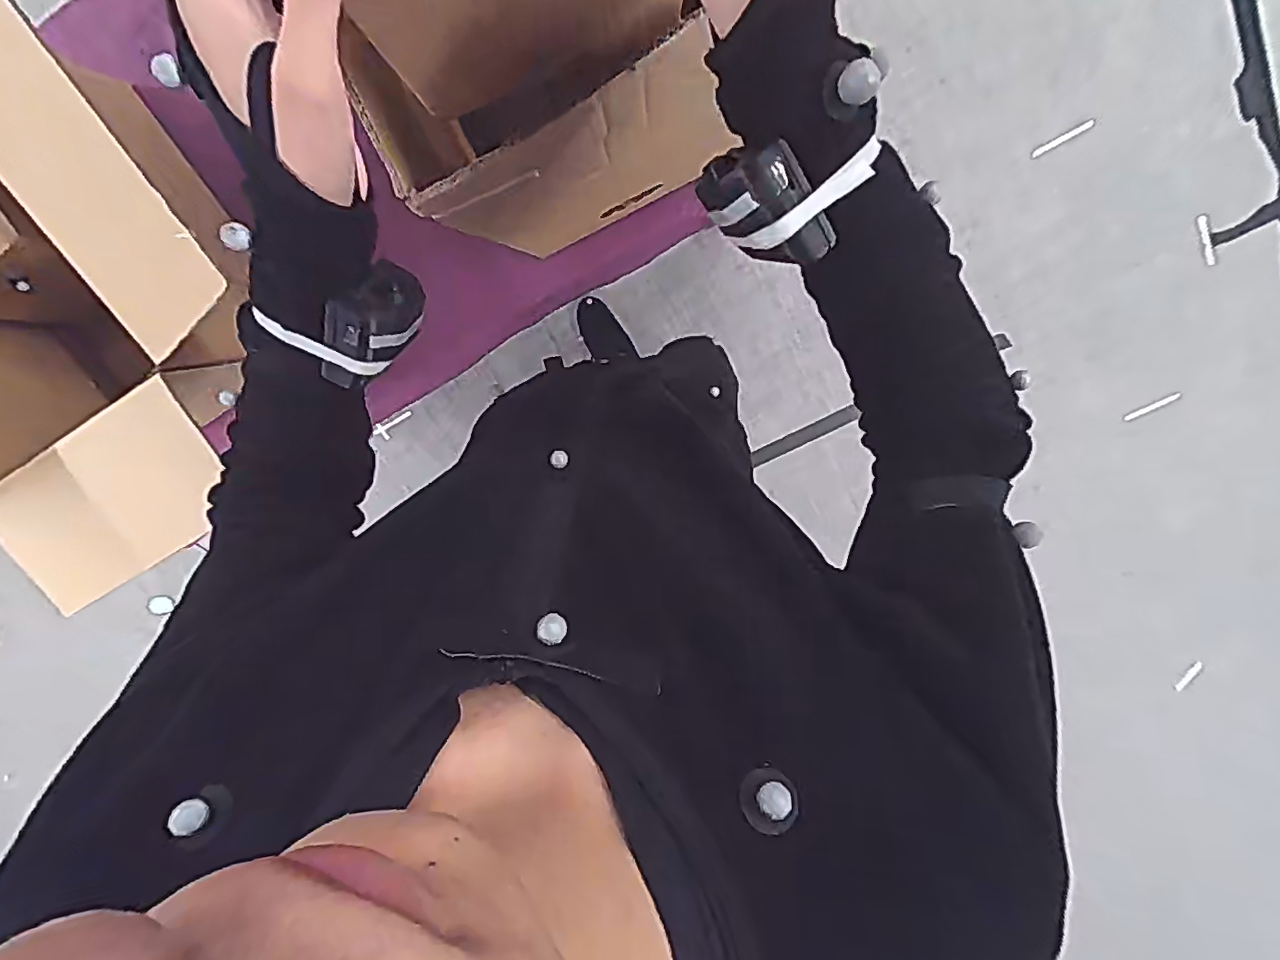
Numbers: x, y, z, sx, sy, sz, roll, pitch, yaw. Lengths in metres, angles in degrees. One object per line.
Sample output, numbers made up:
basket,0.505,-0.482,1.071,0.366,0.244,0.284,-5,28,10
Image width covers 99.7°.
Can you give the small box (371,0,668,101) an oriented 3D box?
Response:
small box,-0.081,-0.338,0.274,0.179,0.176,0.168,-19,102,3
